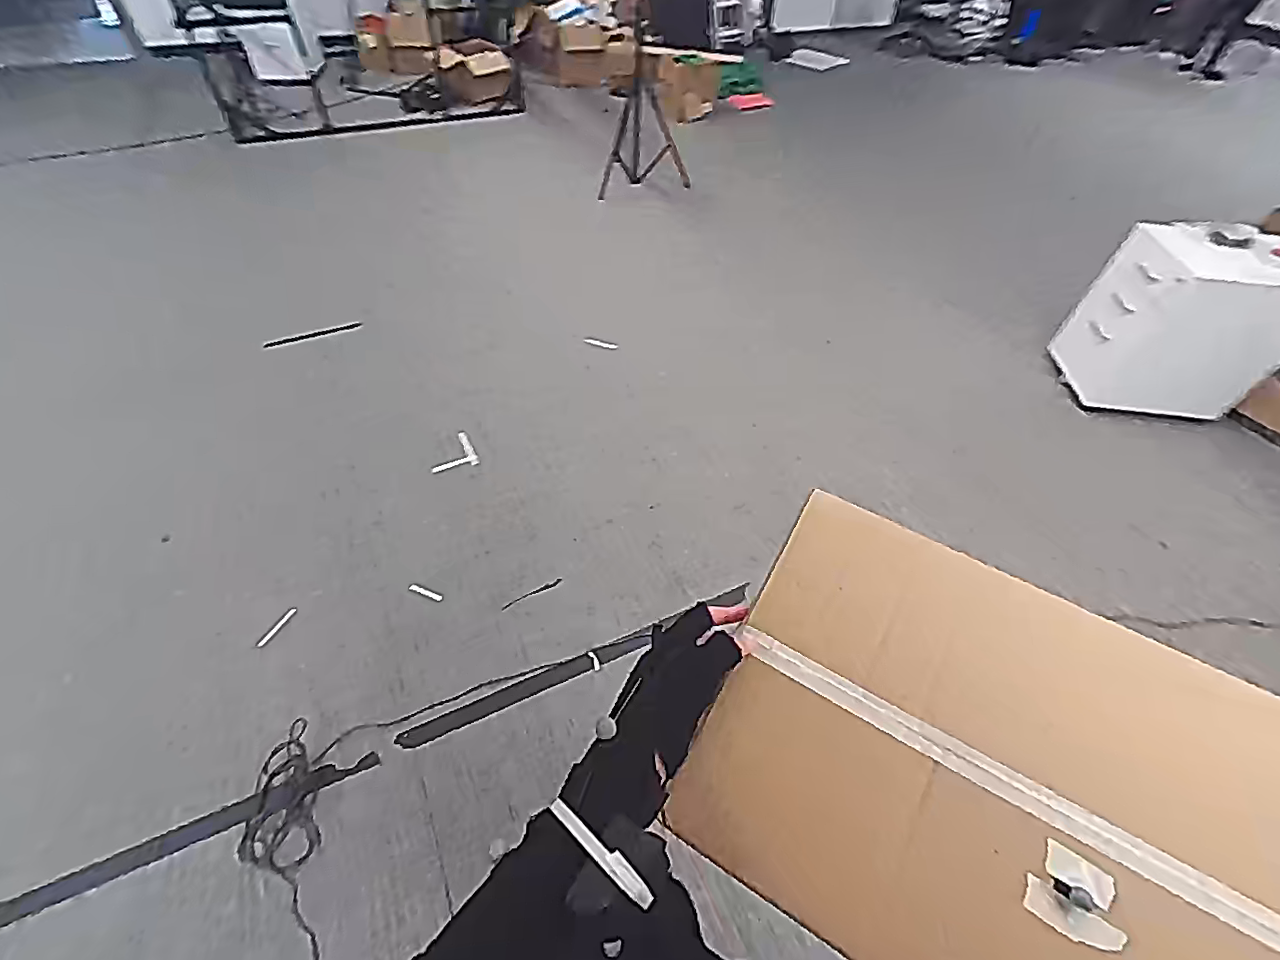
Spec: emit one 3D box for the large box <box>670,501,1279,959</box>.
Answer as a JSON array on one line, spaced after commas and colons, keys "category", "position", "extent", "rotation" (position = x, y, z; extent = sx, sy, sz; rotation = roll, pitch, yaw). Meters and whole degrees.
[{"category": "large box", "position": [0.279, 0.282, 0.552], "extent": [0.408, 0.320, 0.320], "rotation": [26, 72, 17]}]
